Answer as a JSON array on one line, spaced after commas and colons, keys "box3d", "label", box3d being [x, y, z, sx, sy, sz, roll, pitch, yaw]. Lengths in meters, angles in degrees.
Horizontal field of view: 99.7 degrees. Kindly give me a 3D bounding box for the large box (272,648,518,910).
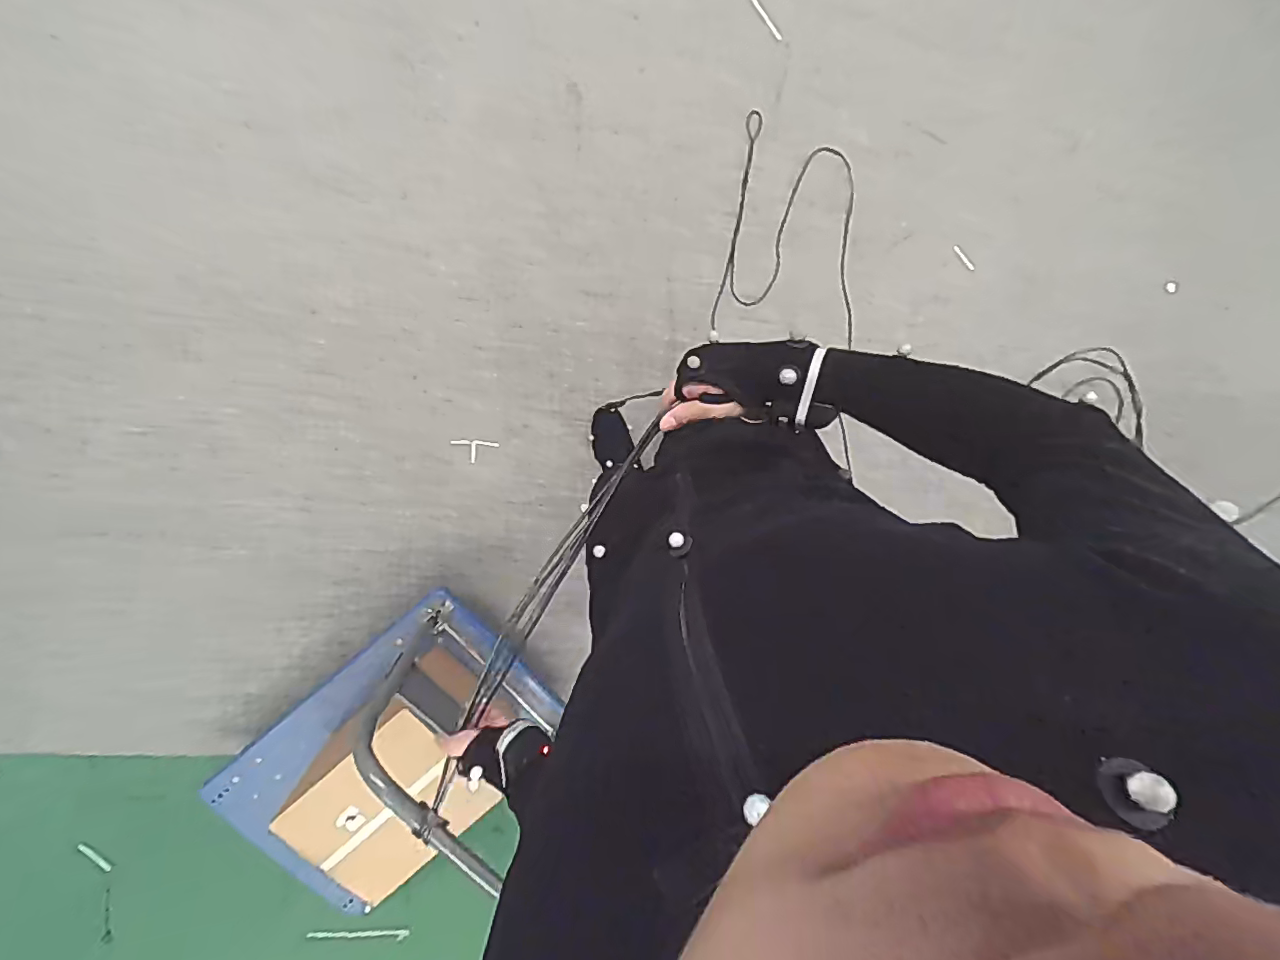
[{"box3d": [-0.562, 0.705, 1.327, 0.408, 0.320, 0.320, -41, 101, 1], "label": "large box"}]
